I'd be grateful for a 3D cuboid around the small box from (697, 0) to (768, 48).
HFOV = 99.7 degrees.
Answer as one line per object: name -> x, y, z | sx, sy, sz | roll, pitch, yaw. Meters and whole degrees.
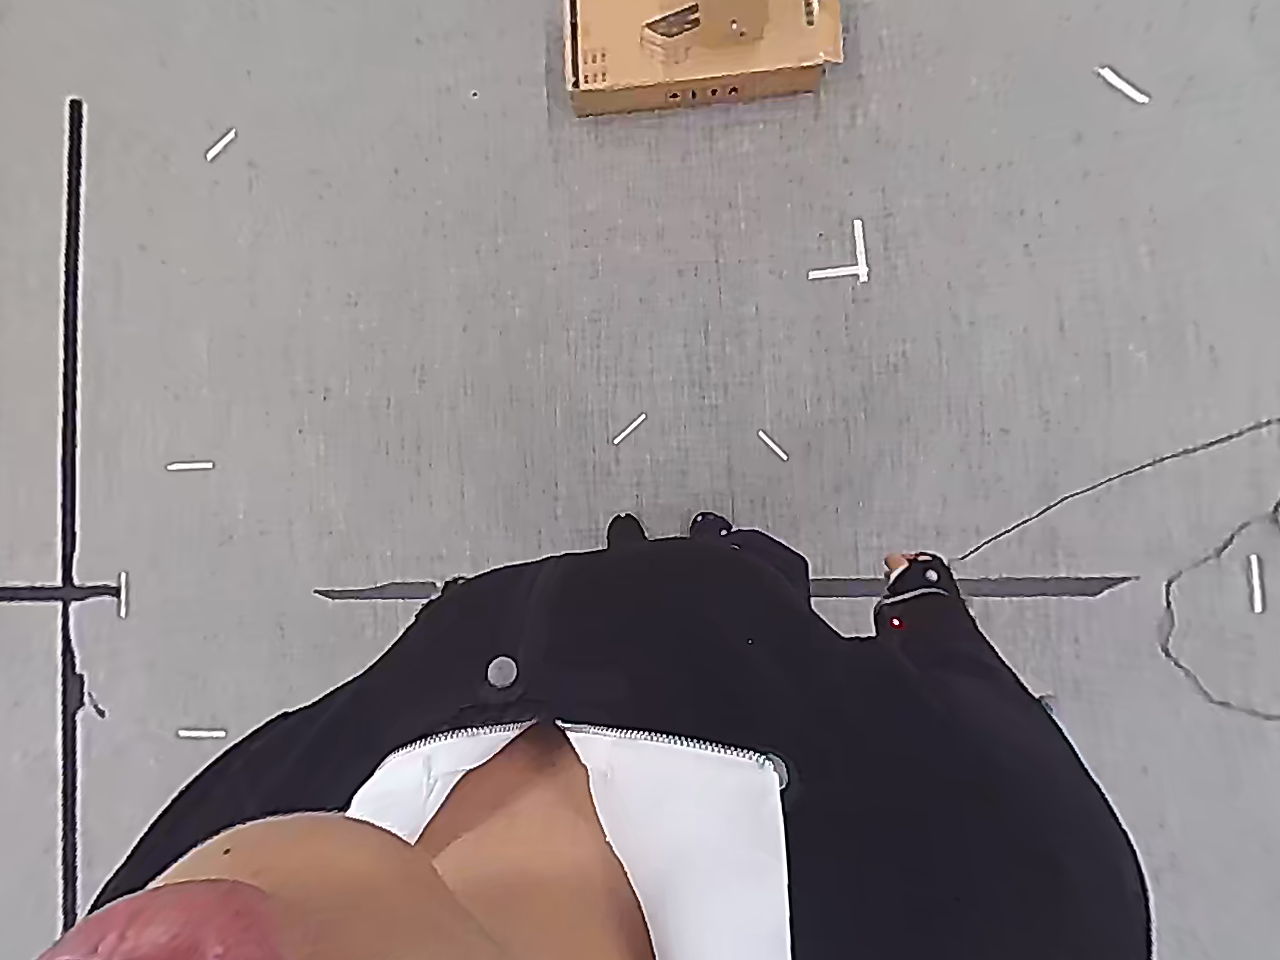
small box -> 0.231, -1.249, 1.366 | 0.168, 0.176, 0.179 | -3, 86, 6
